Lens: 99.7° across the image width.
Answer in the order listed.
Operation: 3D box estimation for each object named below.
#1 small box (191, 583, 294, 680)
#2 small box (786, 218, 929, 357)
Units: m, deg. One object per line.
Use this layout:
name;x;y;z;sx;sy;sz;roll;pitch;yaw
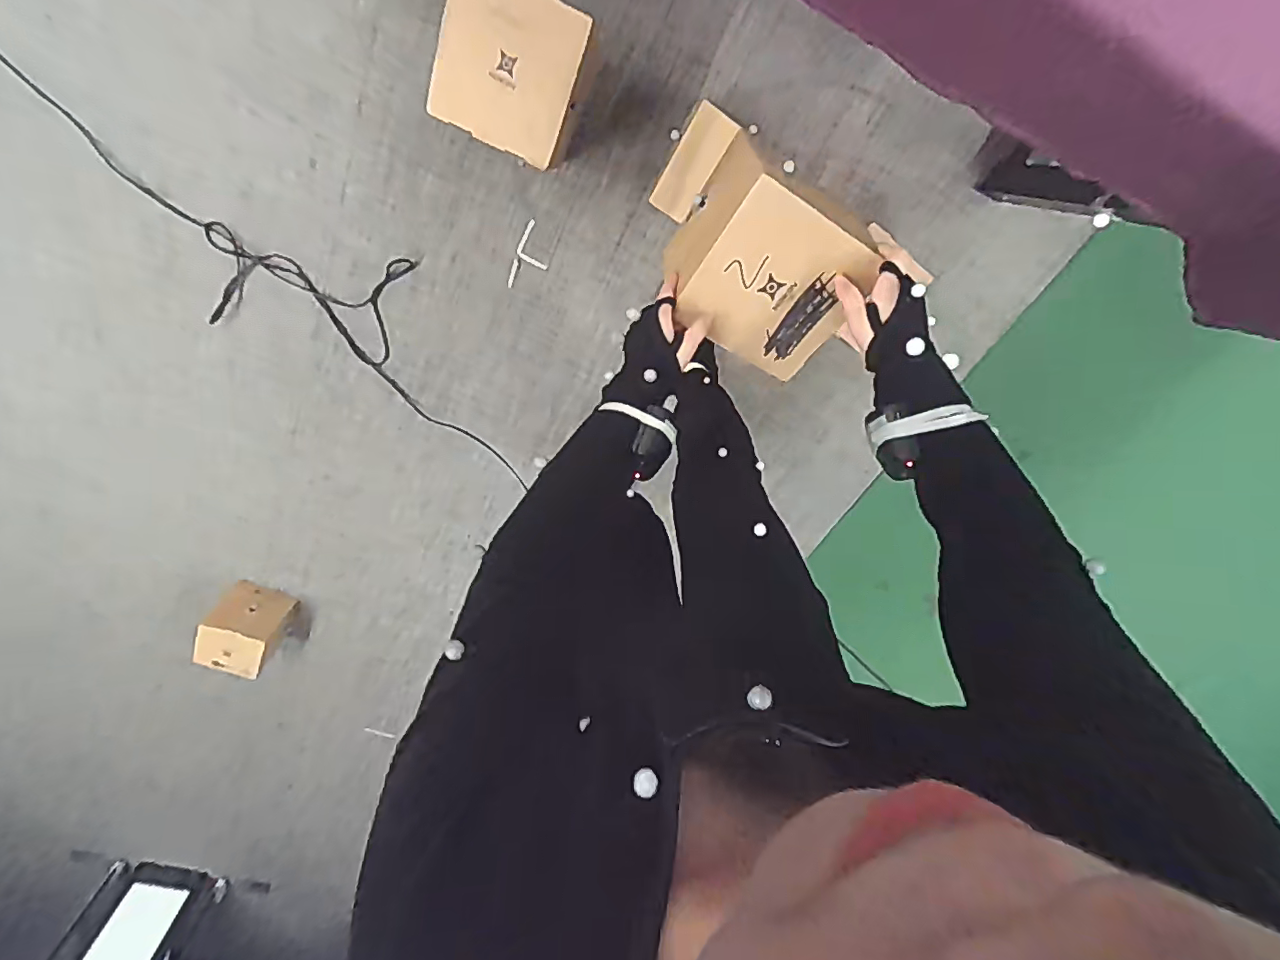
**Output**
small box;-1.114;0.424;1.528;0.168;0.176;0.179;26;118;-15
small box;0.402;-0.374;1.041;0.168;0.176;0.179;32;116;-18
